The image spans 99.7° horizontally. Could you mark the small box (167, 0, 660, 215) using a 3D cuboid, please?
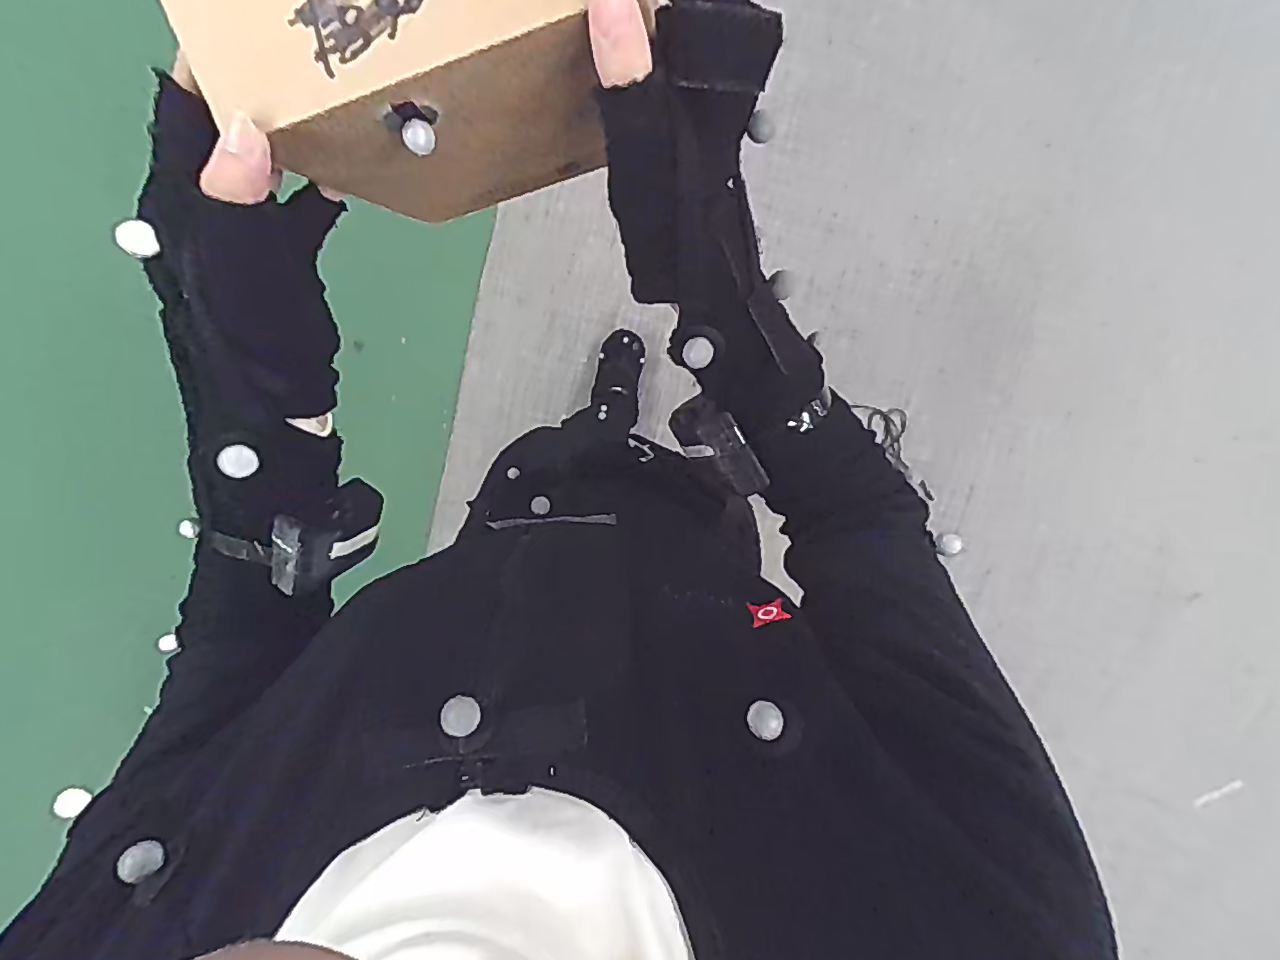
[{"bbox_3d":[-0.092,-0.249,0.247,0.168,0.176,0.179,-14,104,9],"label":"small box"}]
